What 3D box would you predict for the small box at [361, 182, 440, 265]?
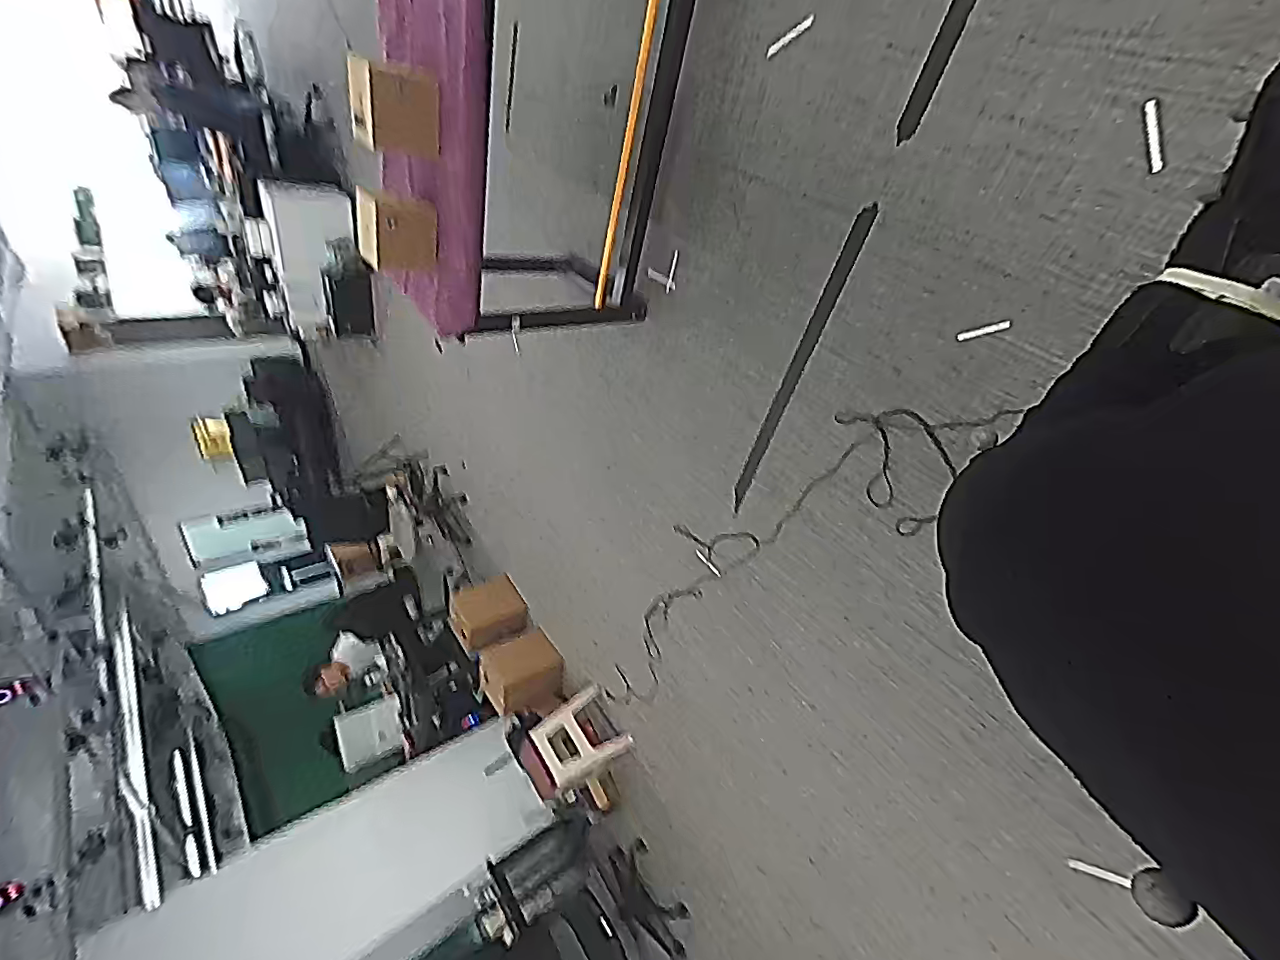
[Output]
[{"bbox_3d":[-0.688,-0.736,1.560,0.168,0.176,0.179,43,132,35],"label":"small box"}]
